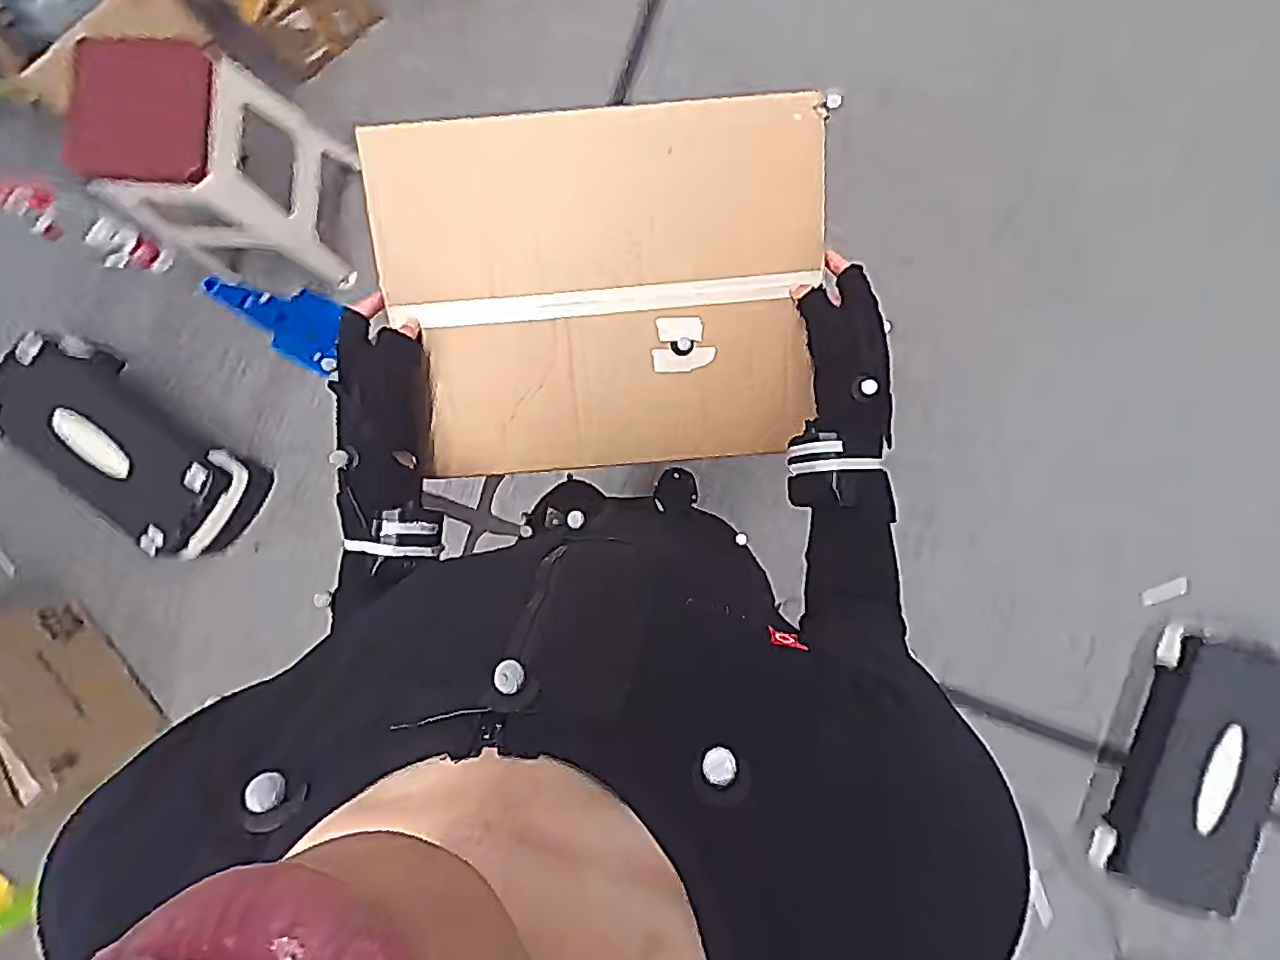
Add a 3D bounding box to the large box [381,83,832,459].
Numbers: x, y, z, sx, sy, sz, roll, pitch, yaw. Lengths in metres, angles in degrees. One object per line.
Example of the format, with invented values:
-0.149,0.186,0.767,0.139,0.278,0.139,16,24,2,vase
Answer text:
-0.024,-0.220,0.651,0.408,0.320,0.320,-4,105,0,large box
